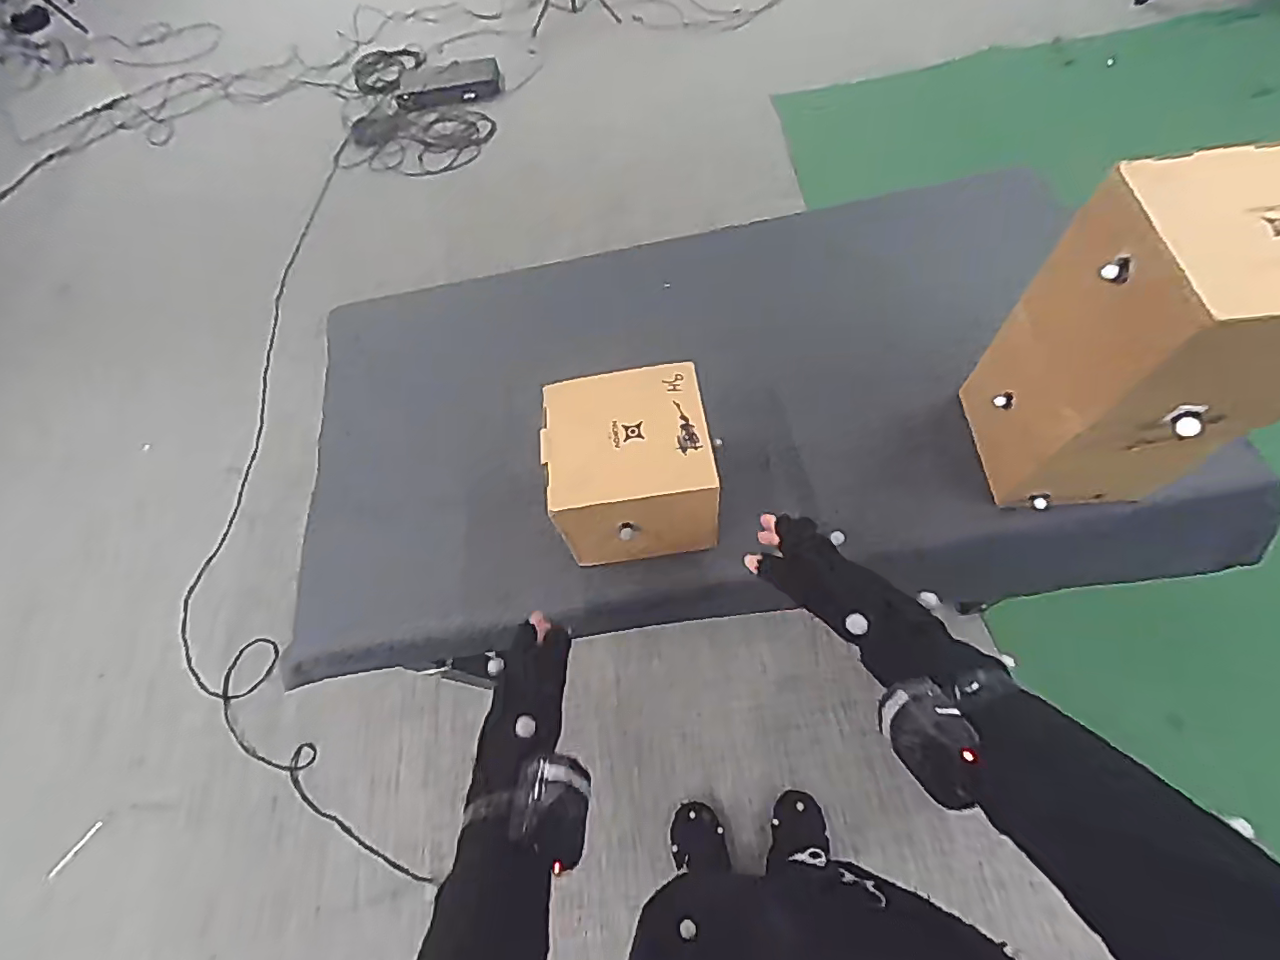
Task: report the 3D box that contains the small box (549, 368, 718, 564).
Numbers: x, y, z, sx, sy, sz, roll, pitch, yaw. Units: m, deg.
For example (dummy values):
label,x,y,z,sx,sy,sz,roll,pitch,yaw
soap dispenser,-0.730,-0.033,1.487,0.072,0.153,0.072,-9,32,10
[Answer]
label,x,y,z,sx,sy,sz,roll,pitch,yaw
small box,-0.003,-0.008,0.659,0.179,0.176,0.168,-9,61,3

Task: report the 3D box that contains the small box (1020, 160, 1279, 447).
label,x,y,z,sx,sy,sz,roll,pitch,yaw
small box,0.484,-0.148,0.483,0.168,0.176,0.179,-4,63,7

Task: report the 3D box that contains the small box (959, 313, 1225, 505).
label,x,y,z,sx,sy,sz,roll,pitch,yaw
small box,0.506,-0.078,0.627,0.168,0.176,0.179,-4,62,6
